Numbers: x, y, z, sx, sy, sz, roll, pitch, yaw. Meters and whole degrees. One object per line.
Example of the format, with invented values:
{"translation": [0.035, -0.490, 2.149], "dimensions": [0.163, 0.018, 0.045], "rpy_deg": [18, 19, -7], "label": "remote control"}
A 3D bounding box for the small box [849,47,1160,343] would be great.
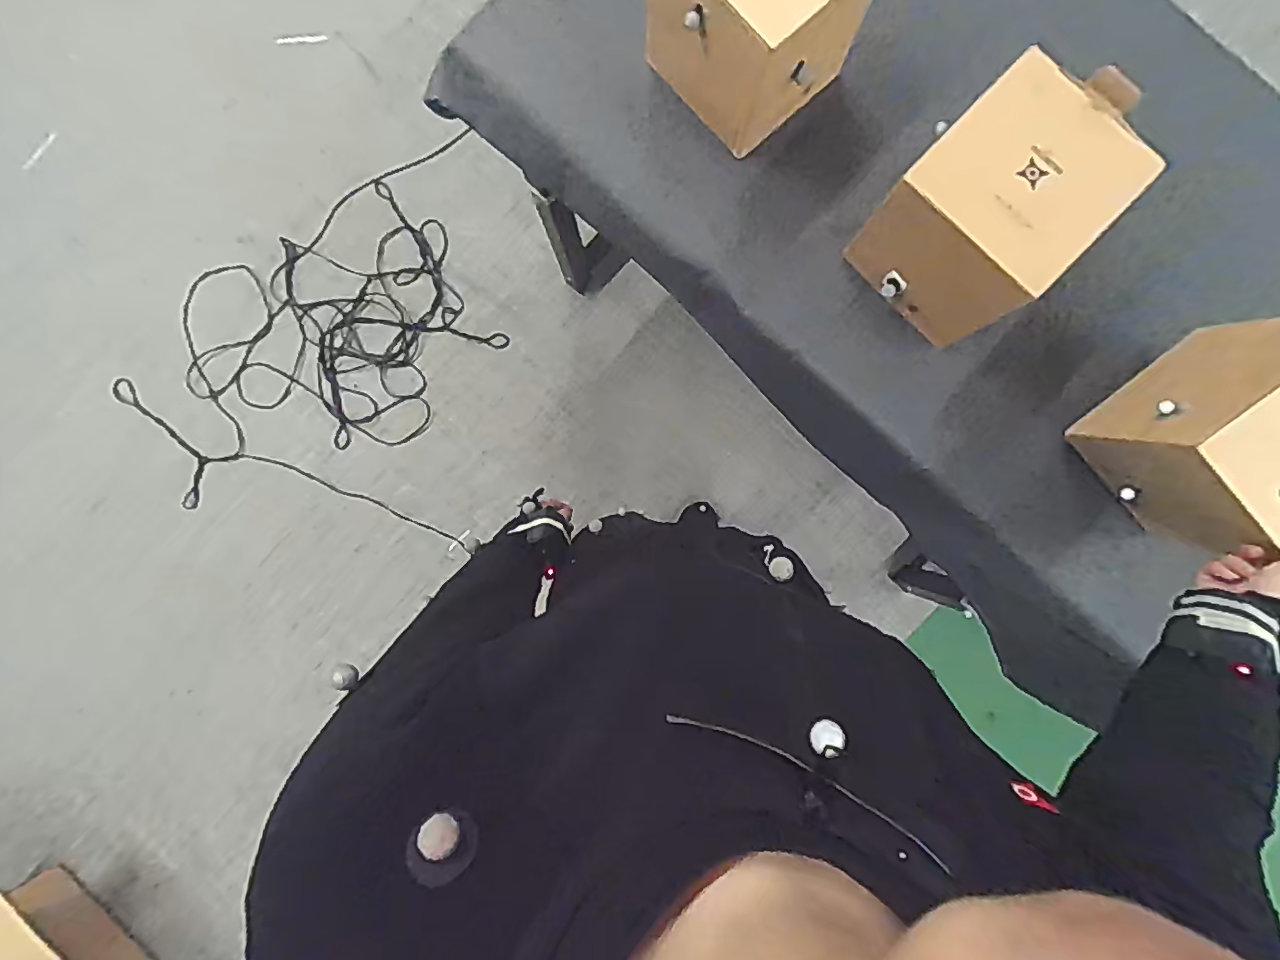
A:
{"translation": [0.357, -0.278, 0.570], "dimensions": [0.168, 0.176, 0.179], "rpy_deg": [43, 89, 3], "label": "small box"}

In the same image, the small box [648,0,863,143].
{"translation": [0.124, -0.508, 0.580], "dimensions": [0.168, 0.176, 0.179], "rpy_deg": [-42, 88, -1], "label": "small box"}
